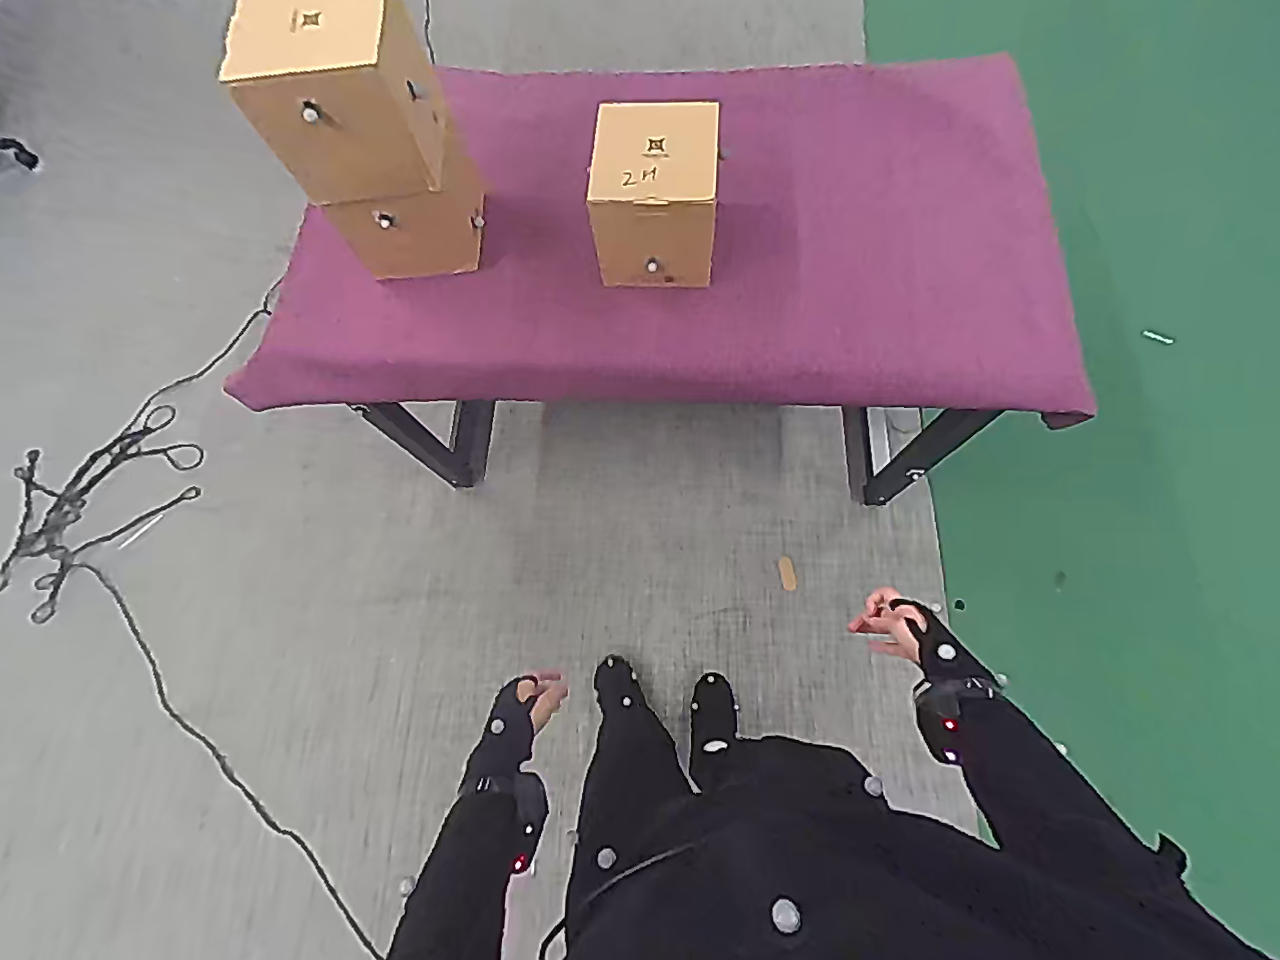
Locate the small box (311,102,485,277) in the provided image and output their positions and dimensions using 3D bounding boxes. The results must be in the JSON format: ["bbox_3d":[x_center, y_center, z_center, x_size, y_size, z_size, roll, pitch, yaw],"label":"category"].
[{"bbox_3d":[-0.352,-0.429,0.819,0.179,0.176,0.168,-3,72,3],"label":"small box"}]

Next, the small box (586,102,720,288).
[{"bbox_3d":[0.023,-0.407,0.785,0.168,0.176,0.179,3,72,5],"label":"small box"}]

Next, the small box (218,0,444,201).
[{"bbox_3d":[-0.358,-0.476,0.665,0.179,0.176,0.168,-5,72,3],"label":"small box"}]
